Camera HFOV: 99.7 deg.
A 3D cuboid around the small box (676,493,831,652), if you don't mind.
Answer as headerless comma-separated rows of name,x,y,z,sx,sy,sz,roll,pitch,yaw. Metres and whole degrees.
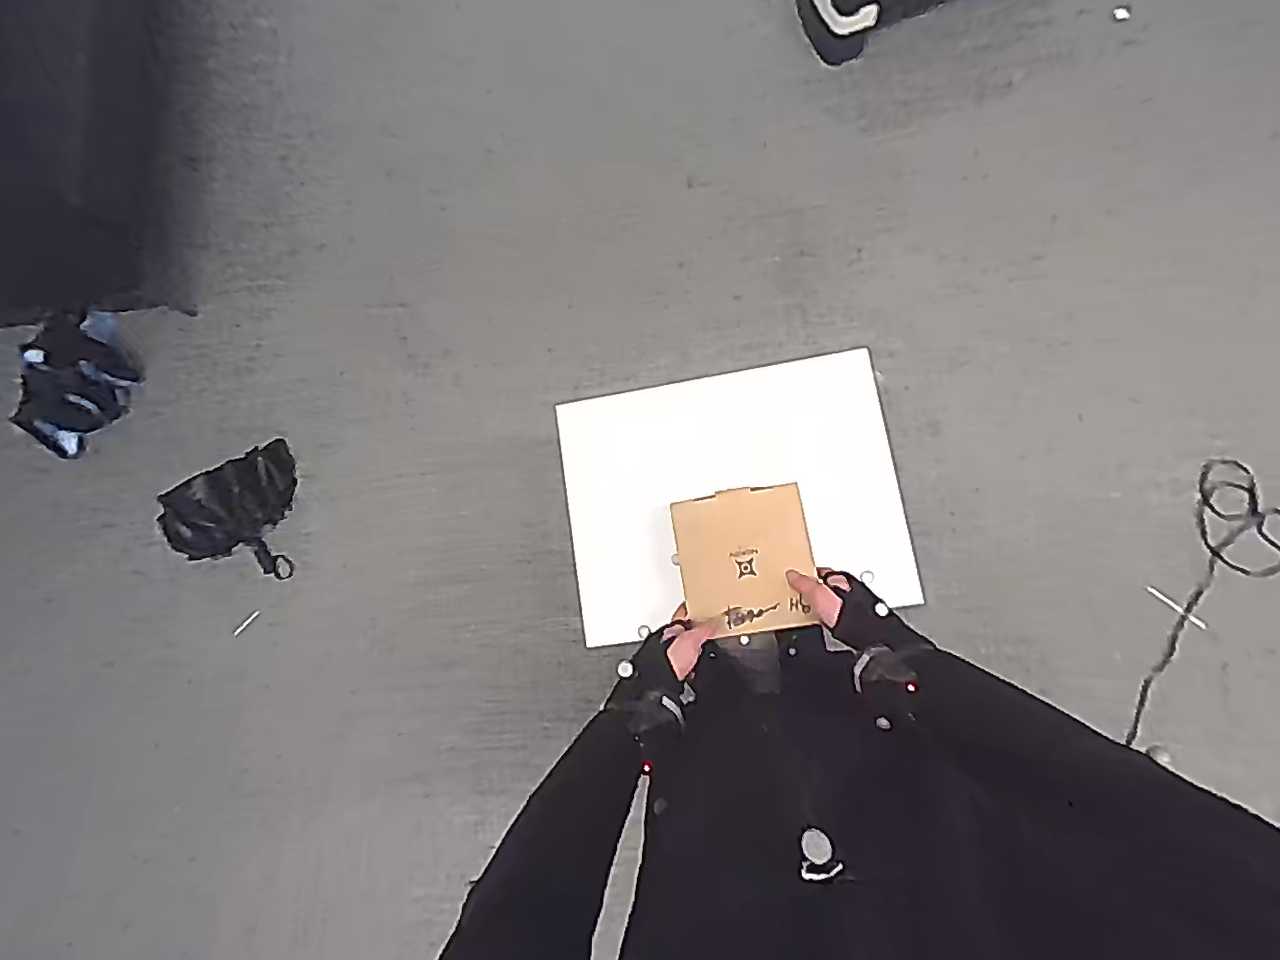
small box,0.146,0.128,0.747,0.168,0.176,0.179,-11,79,6
